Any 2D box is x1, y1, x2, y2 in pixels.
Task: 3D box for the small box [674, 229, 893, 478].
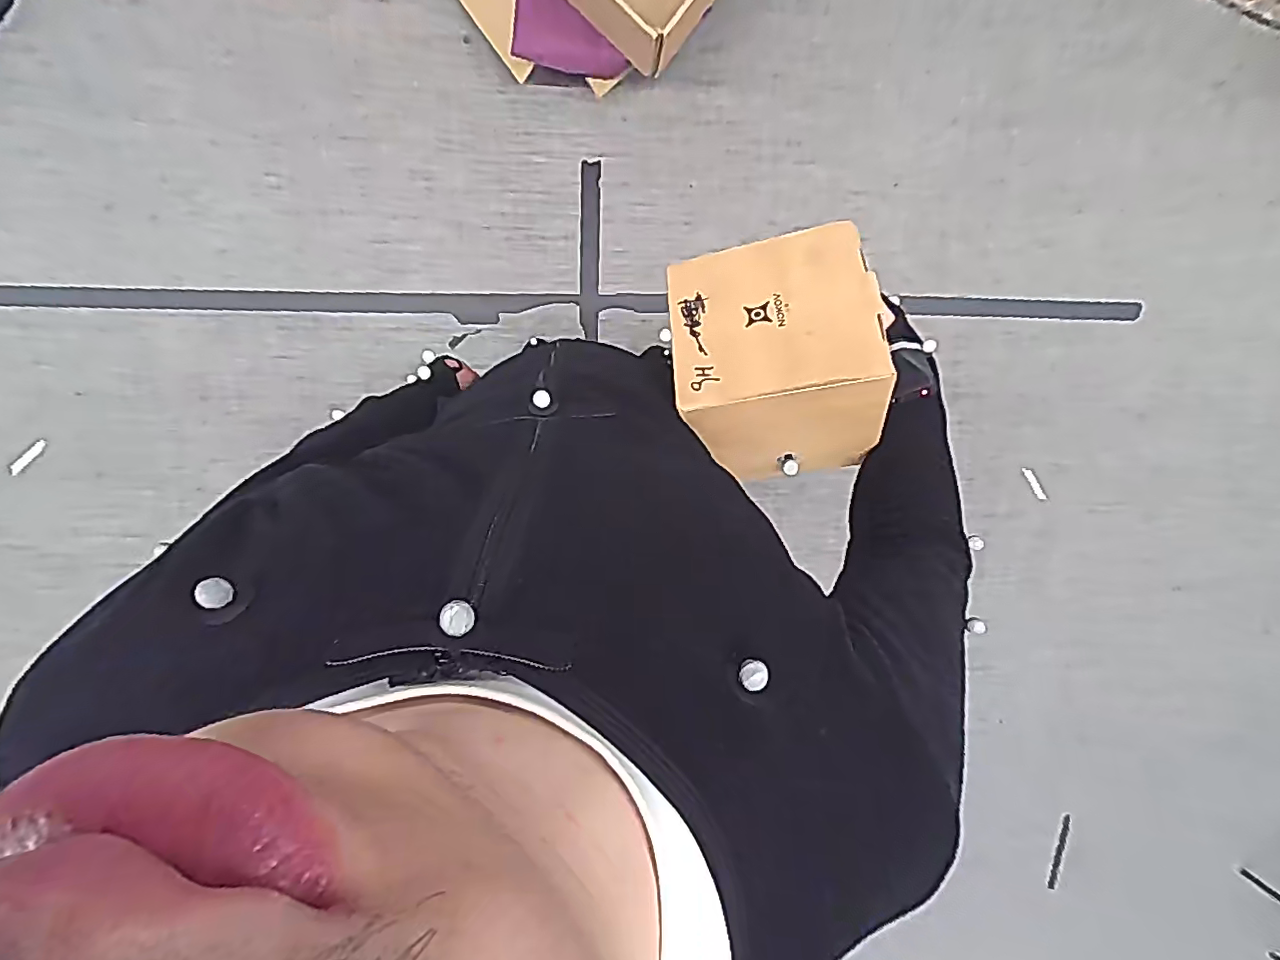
[{"bbox_3d":[0.139,-0.116,0.556,0.179,0.176,0.168,-8,64,14],"label":"small box"}]
